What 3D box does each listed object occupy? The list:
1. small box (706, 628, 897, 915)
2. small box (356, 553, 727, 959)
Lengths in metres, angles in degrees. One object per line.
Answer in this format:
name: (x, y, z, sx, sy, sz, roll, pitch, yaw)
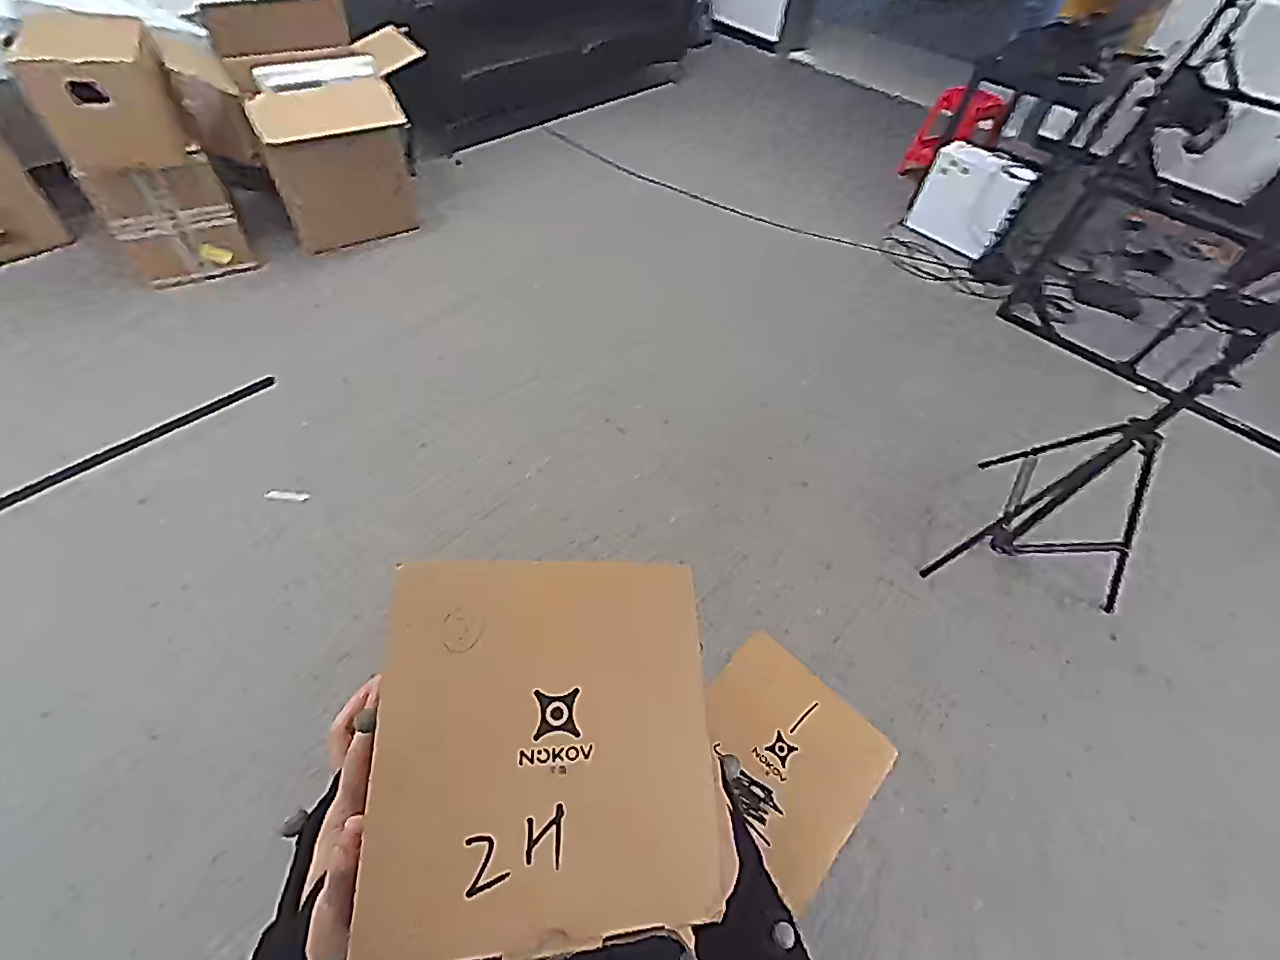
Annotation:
small box: (0.116, 0.293, 0.551, 0.168, 0.176, 0.179, 40, 60, 22)
small box: (-0.064, 0.156, 0.340, 0.168, 0.176, 0.179, 3, 65, -16)
